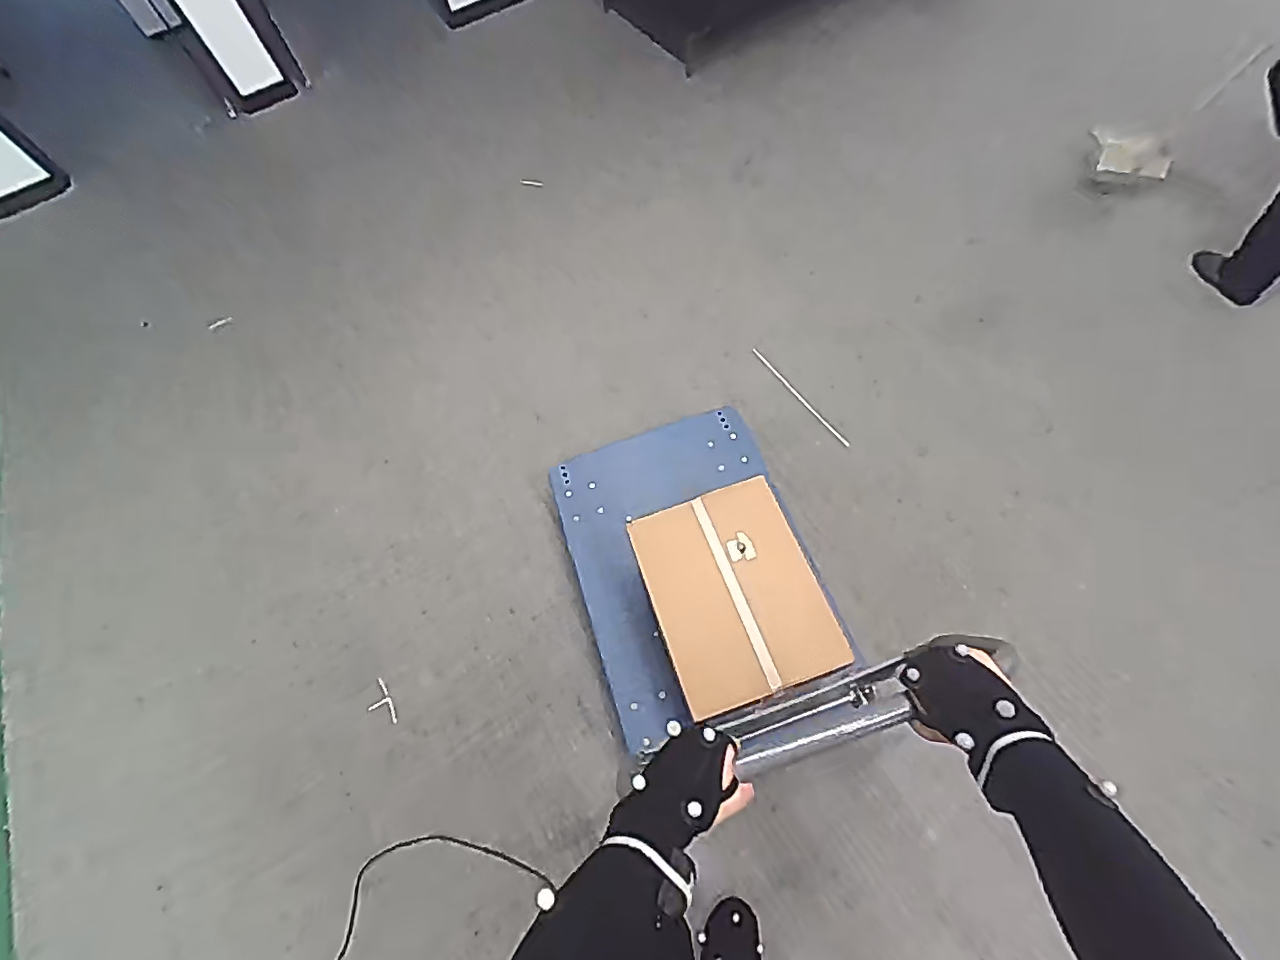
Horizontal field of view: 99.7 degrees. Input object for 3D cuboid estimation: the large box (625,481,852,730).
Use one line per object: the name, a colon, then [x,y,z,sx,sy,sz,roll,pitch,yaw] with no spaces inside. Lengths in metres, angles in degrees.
large box: [0.192,0.281,1.181,0.320,0.320,0.408,-19,62,-4]
